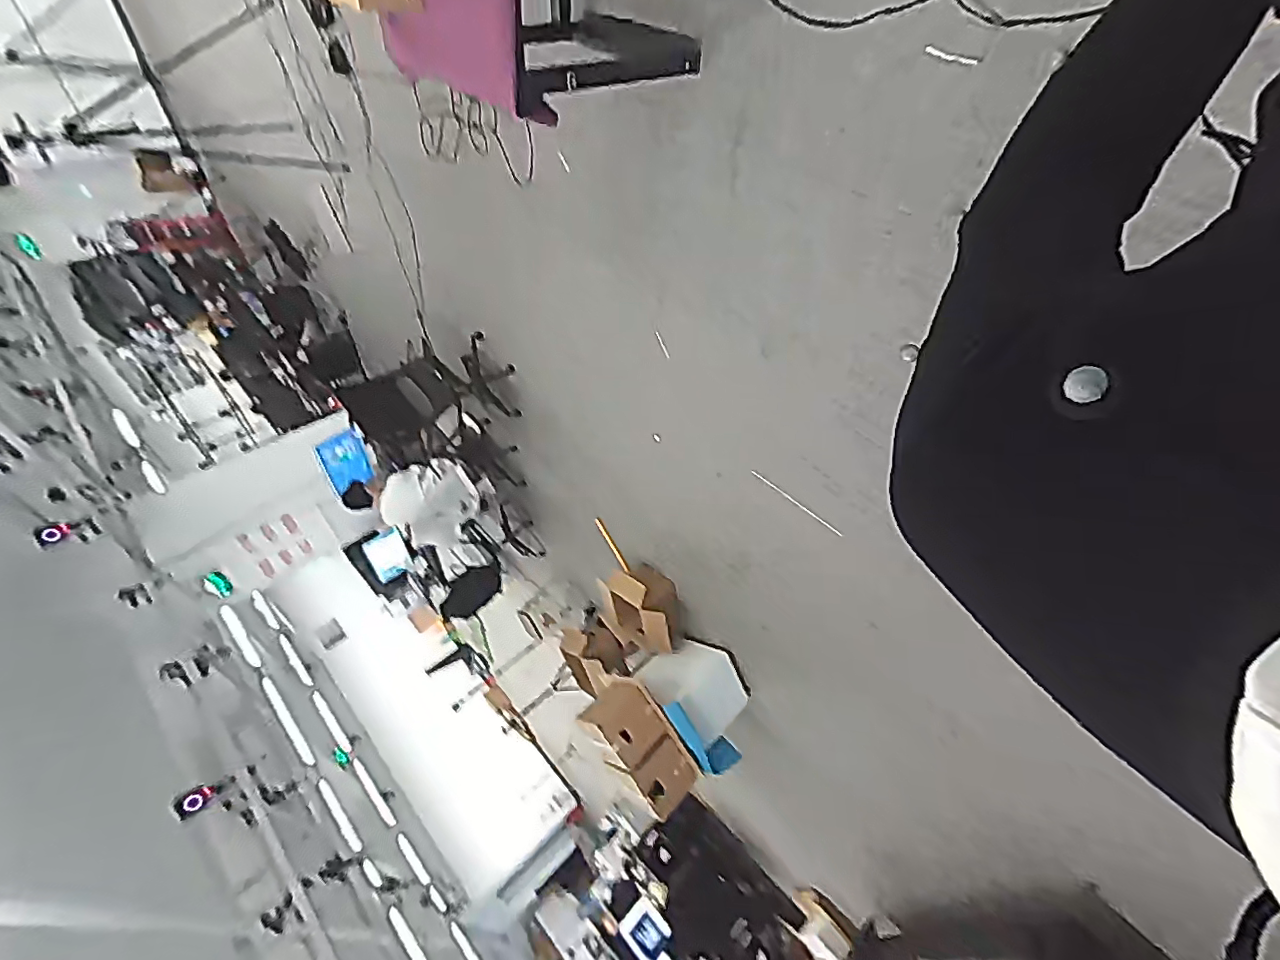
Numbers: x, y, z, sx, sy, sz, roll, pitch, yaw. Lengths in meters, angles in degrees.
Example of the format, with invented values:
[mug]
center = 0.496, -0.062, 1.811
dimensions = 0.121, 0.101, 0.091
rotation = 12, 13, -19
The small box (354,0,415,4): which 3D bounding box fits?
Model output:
[small box]
center = -0.662, -1.289, 1.318
dimensions = 0.179, 0.176, 0.168
rotation = 40, 145, 25
